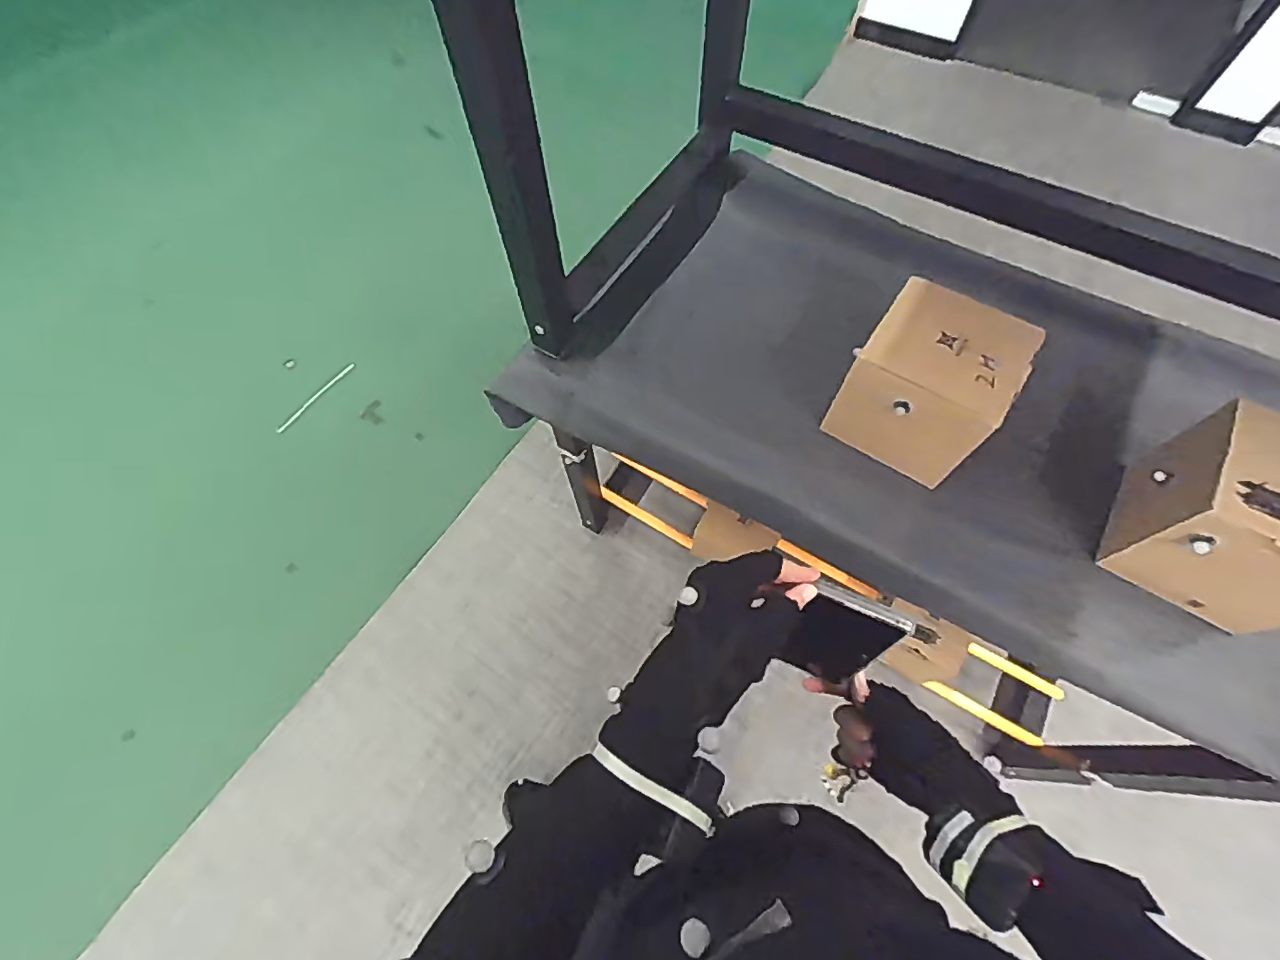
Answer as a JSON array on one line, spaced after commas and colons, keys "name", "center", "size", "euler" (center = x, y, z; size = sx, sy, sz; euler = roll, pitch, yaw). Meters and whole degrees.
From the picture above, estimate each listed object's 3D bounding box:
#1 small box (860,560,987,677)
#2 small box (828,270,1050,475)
[{"name": "small box", "center": [0.610, 0.311, 1.186], "size": [0.168, 0.176, 0.179], "euler": [33, 69, 16]}, {"name": "small box", "center": [0.379, -0.134, 0.716], "size": [0.179, 0.176, 0.168], "euler": [32, 69, 16]}]
